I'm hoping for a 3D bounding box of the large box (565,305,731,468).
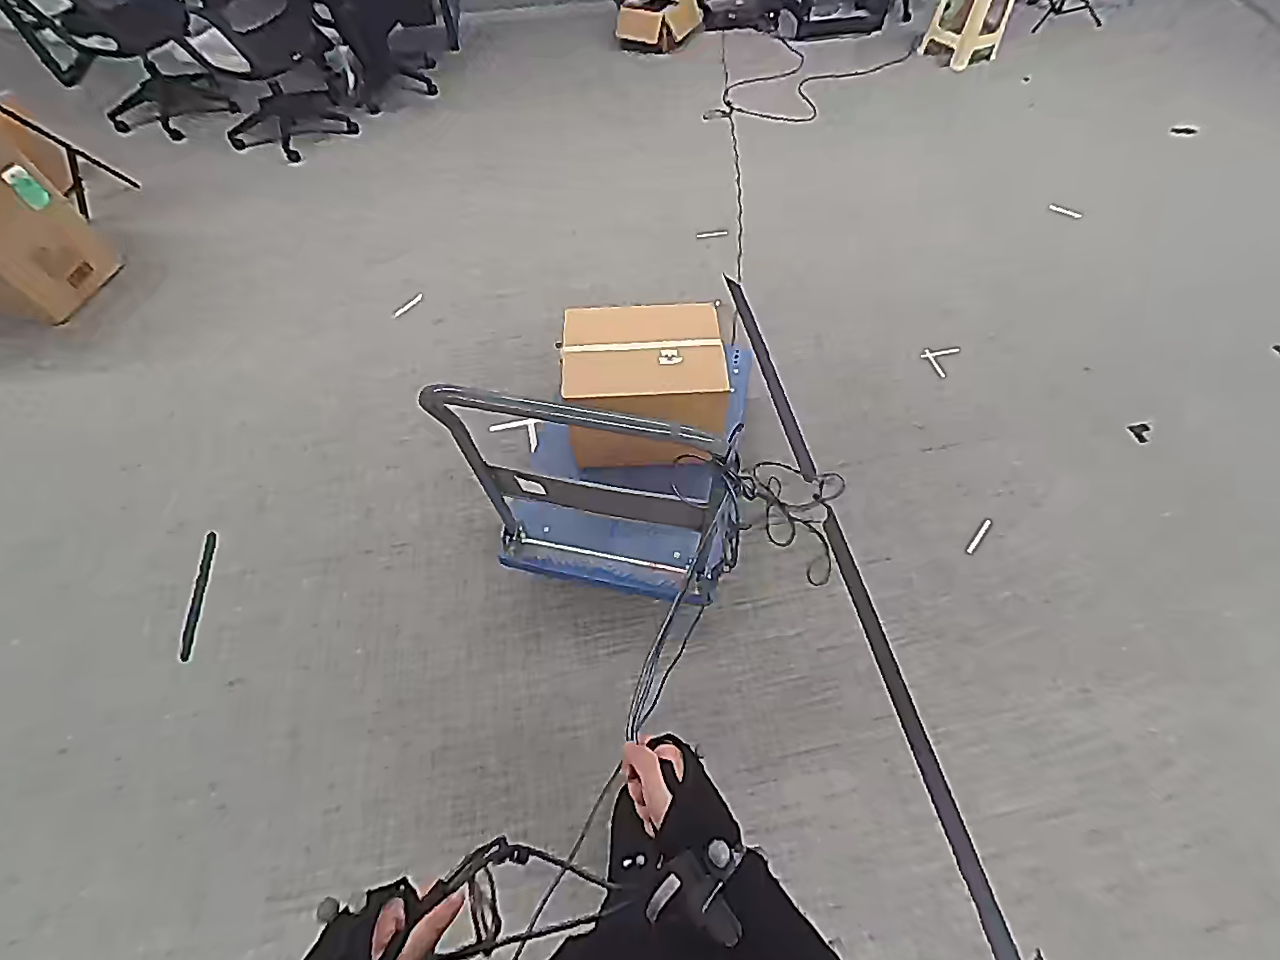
[{"bbox_3d":[0.012,-0.247,1.478,0.408,0.320,0.320,-2,59,-1],"label":"large box"}]
